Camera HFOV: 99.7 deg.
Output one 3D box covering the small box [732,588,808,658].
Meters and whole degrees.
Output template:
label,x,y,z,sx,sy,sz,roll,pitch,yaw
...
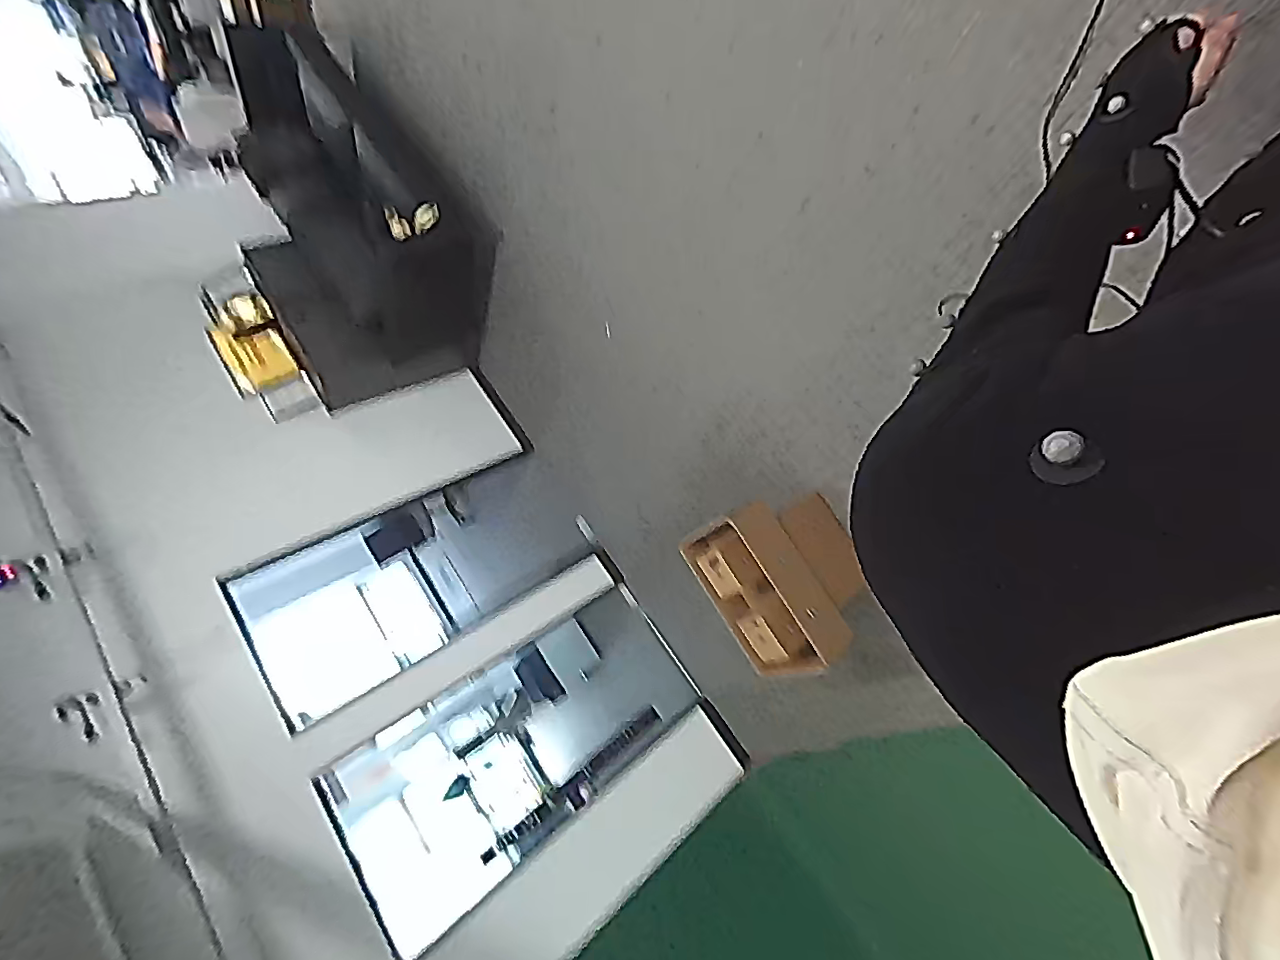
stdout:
label,x,y,z,sx,sy,sz,roll,pitch,yaw
small box,0.485,0.531,2.006,0.179,0.176,0.168,56,148,9
